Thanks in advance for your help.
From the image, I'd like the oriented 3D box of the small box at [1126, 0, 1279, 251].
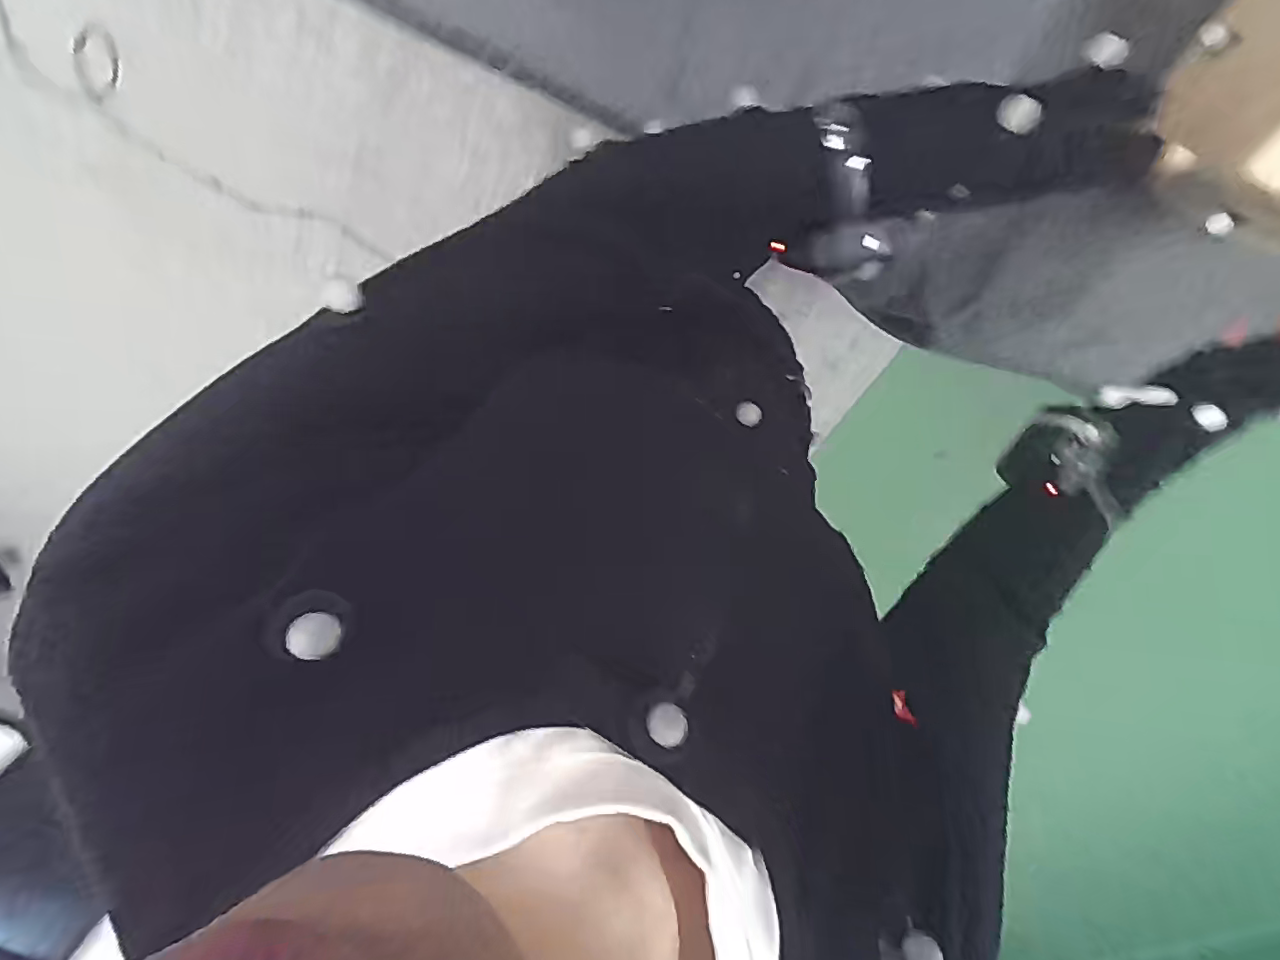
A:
[{"bbox_3d":[0.516,-0.277,0.391,0.168,0.176,0.179,26,124,-8],"label":"small box"}]
